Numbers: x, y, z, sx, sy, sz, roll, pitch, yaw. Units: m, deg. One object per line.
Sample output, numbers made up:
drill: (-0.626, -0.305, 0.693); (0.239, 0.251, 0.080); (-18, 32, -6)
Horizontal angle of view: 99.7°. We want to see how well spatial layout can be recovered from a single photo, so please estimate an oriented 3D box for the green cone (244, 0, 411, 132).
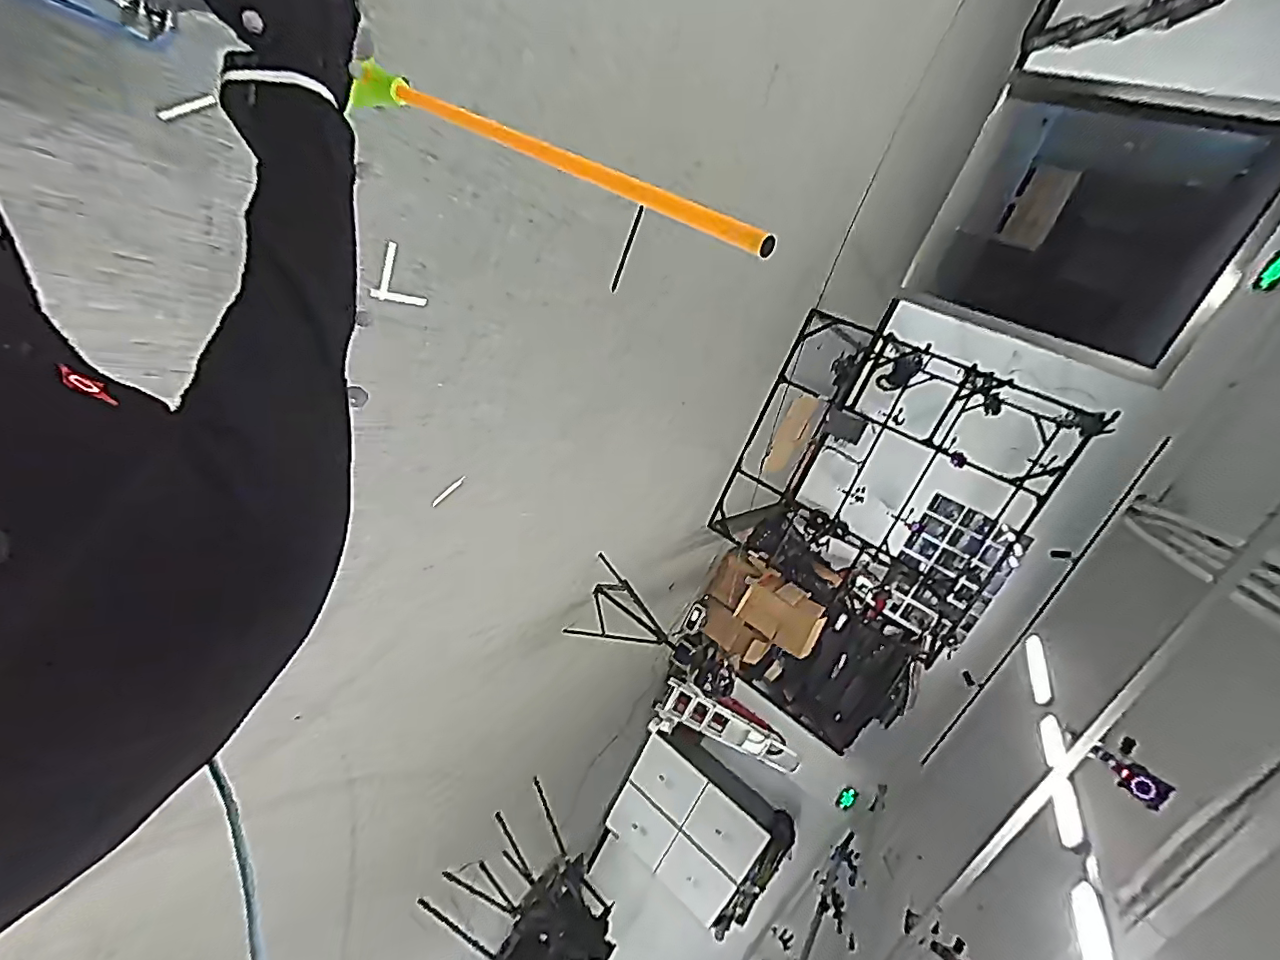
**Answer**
green cone: (-0.584, -0.805, 1.078); (0.202, 0.368, 0.200); (-2, 121, -61)
